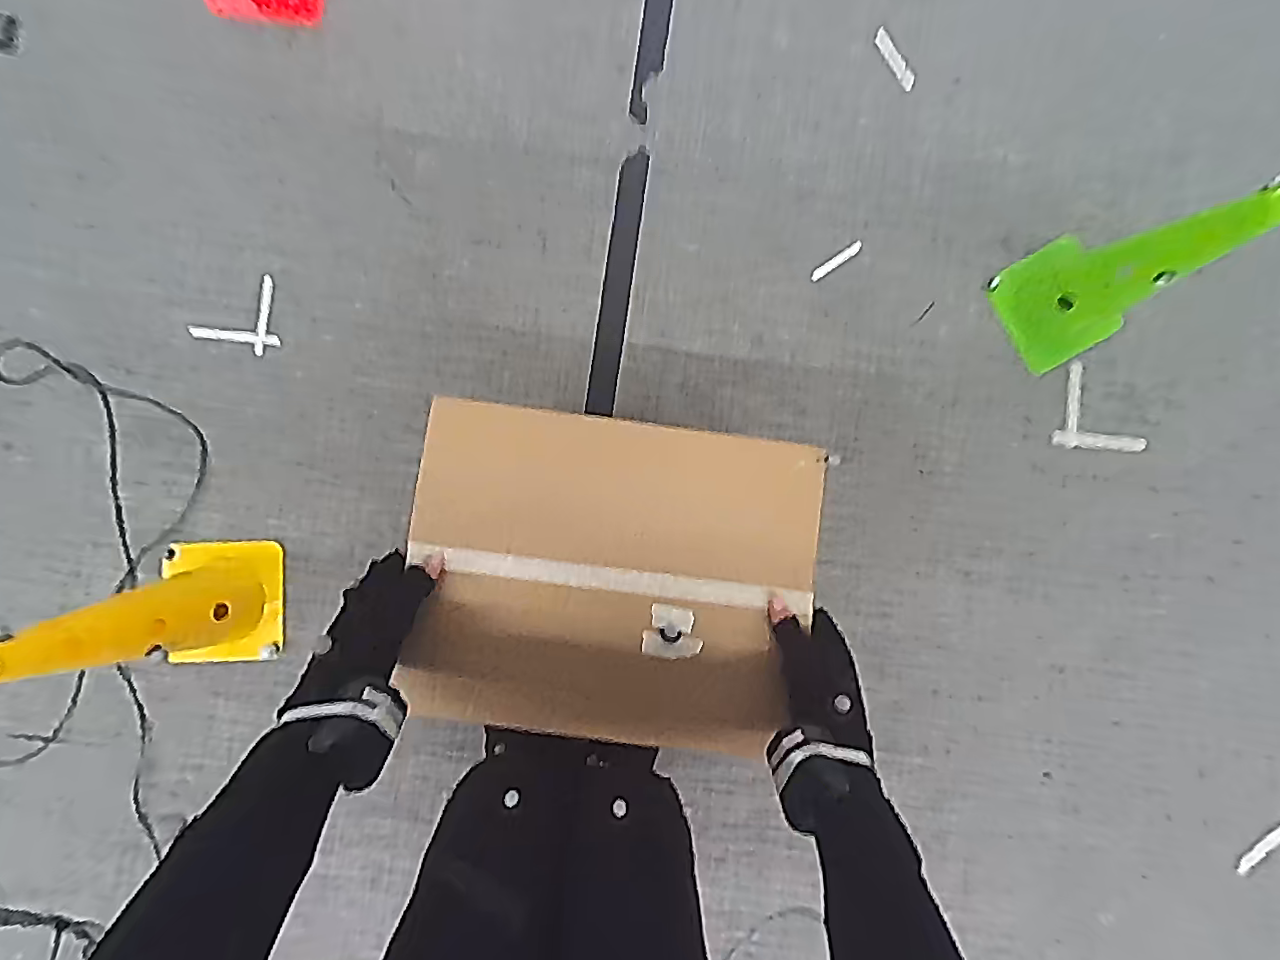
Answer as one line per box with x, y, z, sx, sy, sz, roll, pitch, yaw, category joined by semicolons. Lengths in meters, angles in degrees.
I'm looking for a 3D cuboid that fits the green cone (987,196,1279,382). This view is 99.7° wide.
0.768;-0.310;0.820;0.202;0.368;0.200;-30;90;-4;green cone

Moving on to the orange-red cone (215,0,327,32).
-0.650;-0.905;0.794;0.198;0.360;0.199;5;89;-1;orange-red cone

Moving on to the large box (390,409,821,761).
-0.034;0.115;0.684;0.408;0.320;0.320;8;86;-1;large box
